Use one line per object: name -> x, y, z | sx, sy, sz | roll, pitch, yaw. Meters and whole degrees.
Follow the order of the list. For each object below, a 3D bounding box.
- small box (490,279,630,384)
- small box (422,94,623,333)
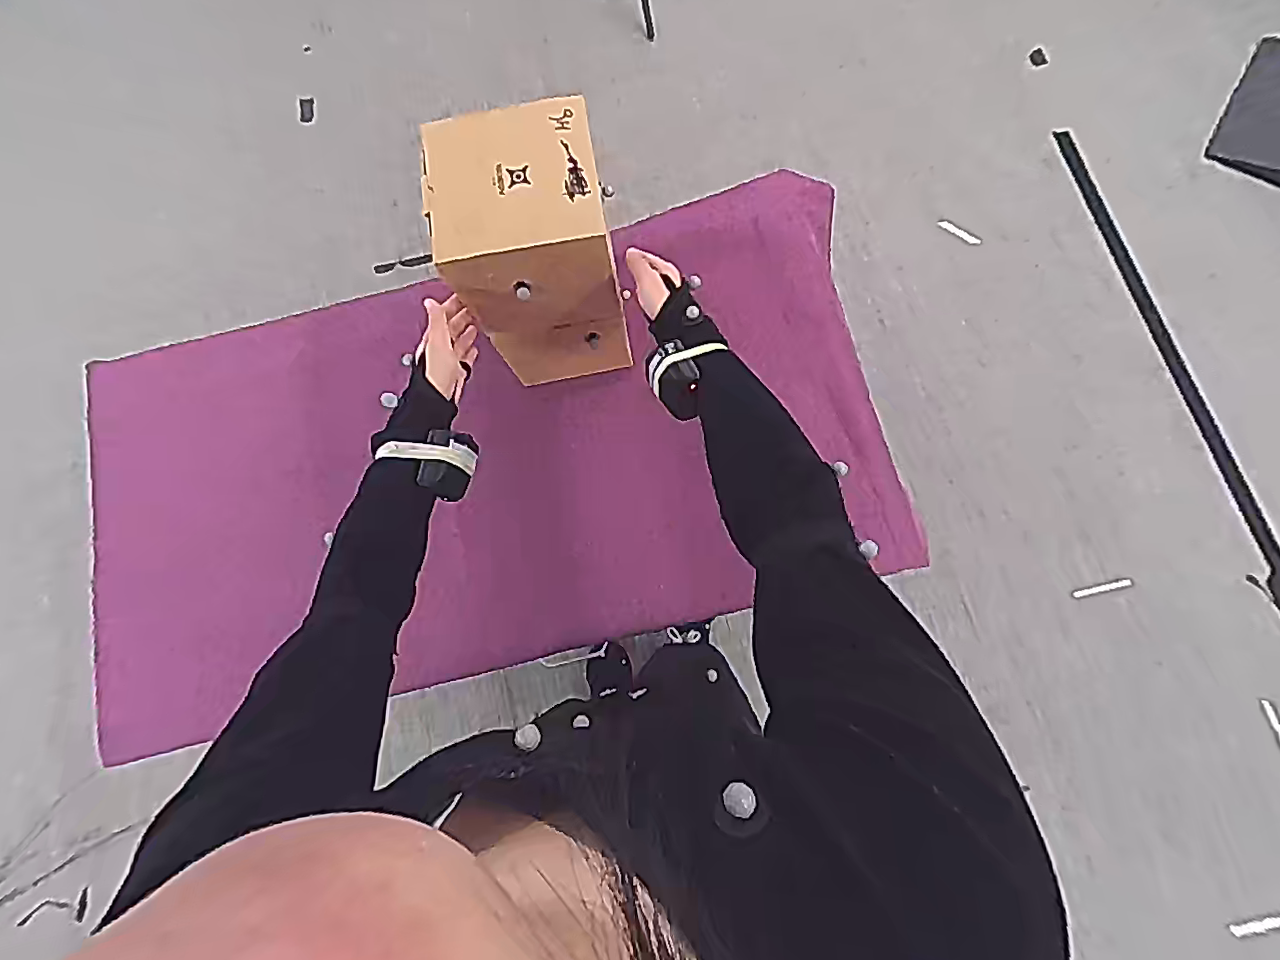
small box -> -0.113, -0.254, 0.779 | 0.179, 0.176, 0.168 | -11, 79, 2
small box -> -0.124, -0.286, 0.618 | 0.179, 0.176, 0.168 | -9, 79, 2
